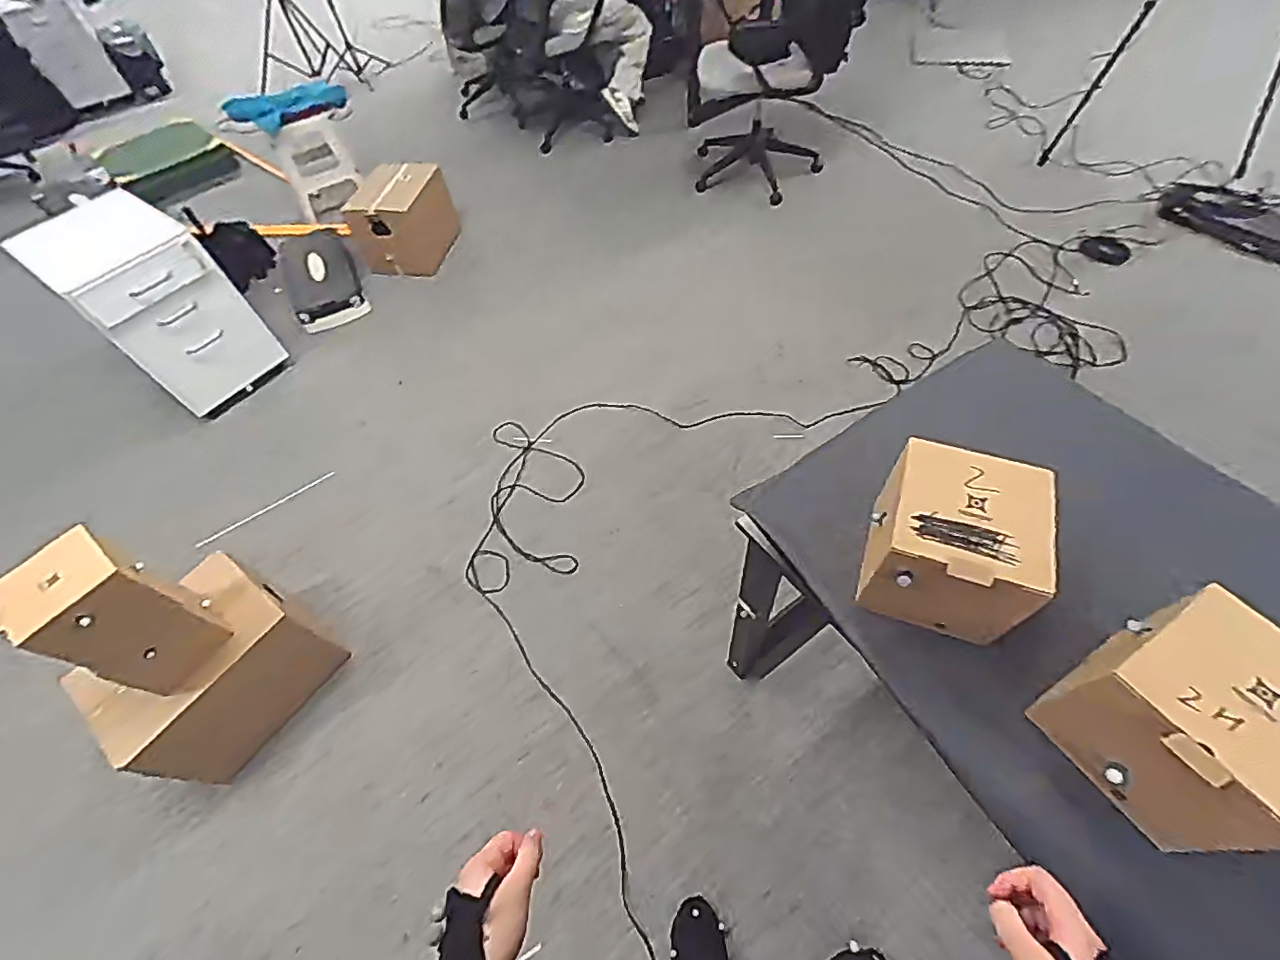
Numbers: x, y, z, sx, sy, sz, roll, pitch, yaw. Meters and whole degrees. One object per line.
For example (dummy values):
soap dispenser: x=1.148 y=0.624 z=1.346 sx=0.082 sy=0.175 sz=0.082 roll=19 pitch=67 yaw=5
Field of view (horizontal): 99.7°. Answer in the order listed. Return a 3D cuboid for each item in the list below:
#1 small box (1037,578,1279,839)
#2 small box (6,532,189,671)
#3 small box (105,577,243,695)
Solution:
small box: x=0.571 y=0.239 z=0.563 sx=0.179 sy=0.176 sz=0.168 roll=-29 pitch=56 yaw=-14
small box: x=-1.045 y=0.242 z=1.063 sx=0.168 sy=0.176 sz=0.179 roll=31 pitch=64 yaw=23
small box: x=-1.040 y=0.342 z=1.192 sx=0.168 sy=0.176 sz=0.179 roll=30 pitch=63 yaw=23
